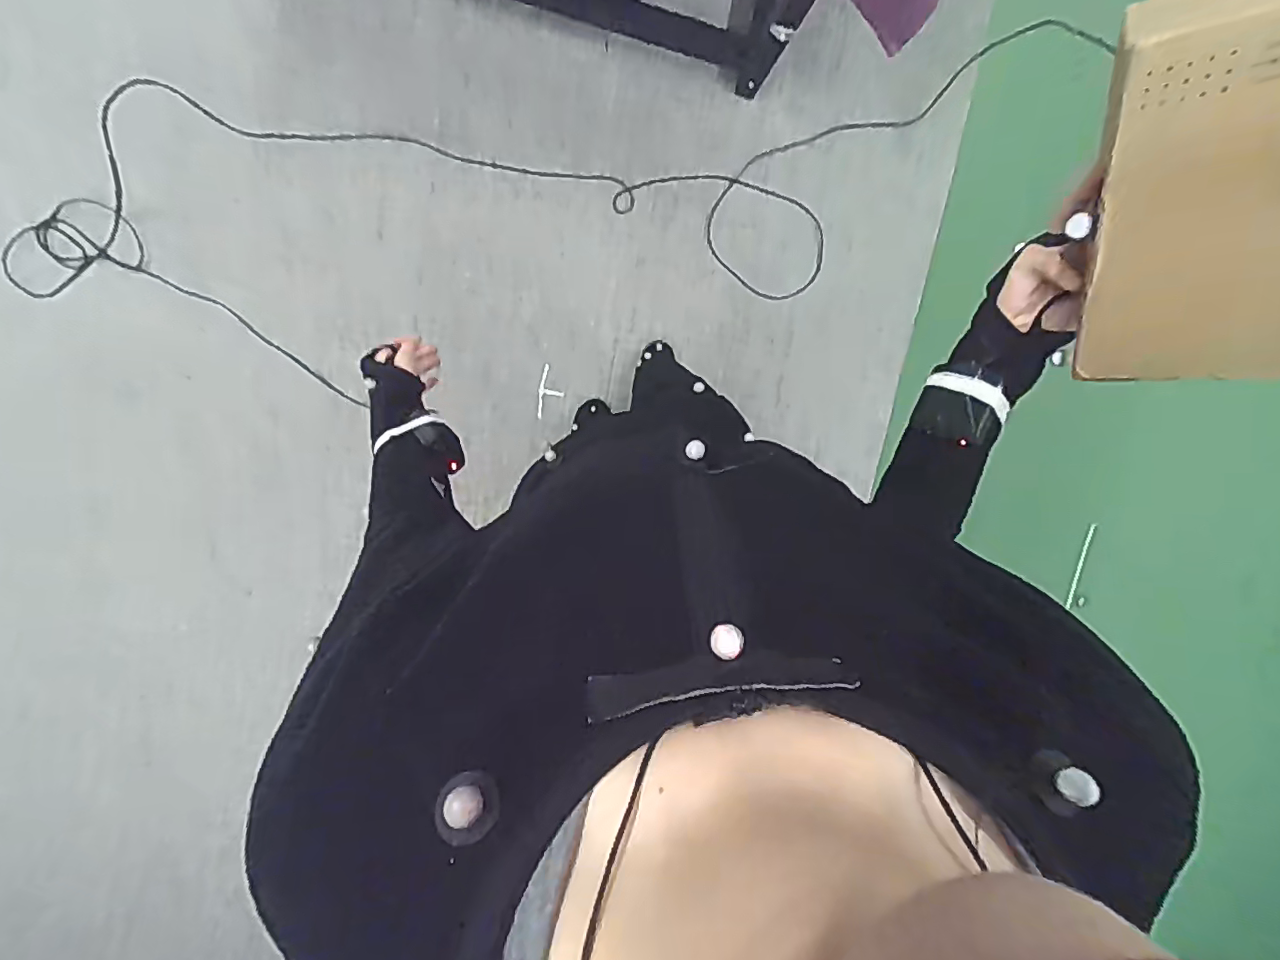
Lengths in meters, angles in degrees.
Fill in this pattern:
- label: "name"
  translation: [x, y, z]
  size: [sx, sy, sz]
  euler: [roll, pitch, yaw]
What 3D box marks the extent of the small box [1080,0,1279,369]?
- label: "small box"
  translation: [0.343, -0.174, 0.279]
  size: [0.179, 0.168, 0.176]
  euler: [-48, 132, -37]
